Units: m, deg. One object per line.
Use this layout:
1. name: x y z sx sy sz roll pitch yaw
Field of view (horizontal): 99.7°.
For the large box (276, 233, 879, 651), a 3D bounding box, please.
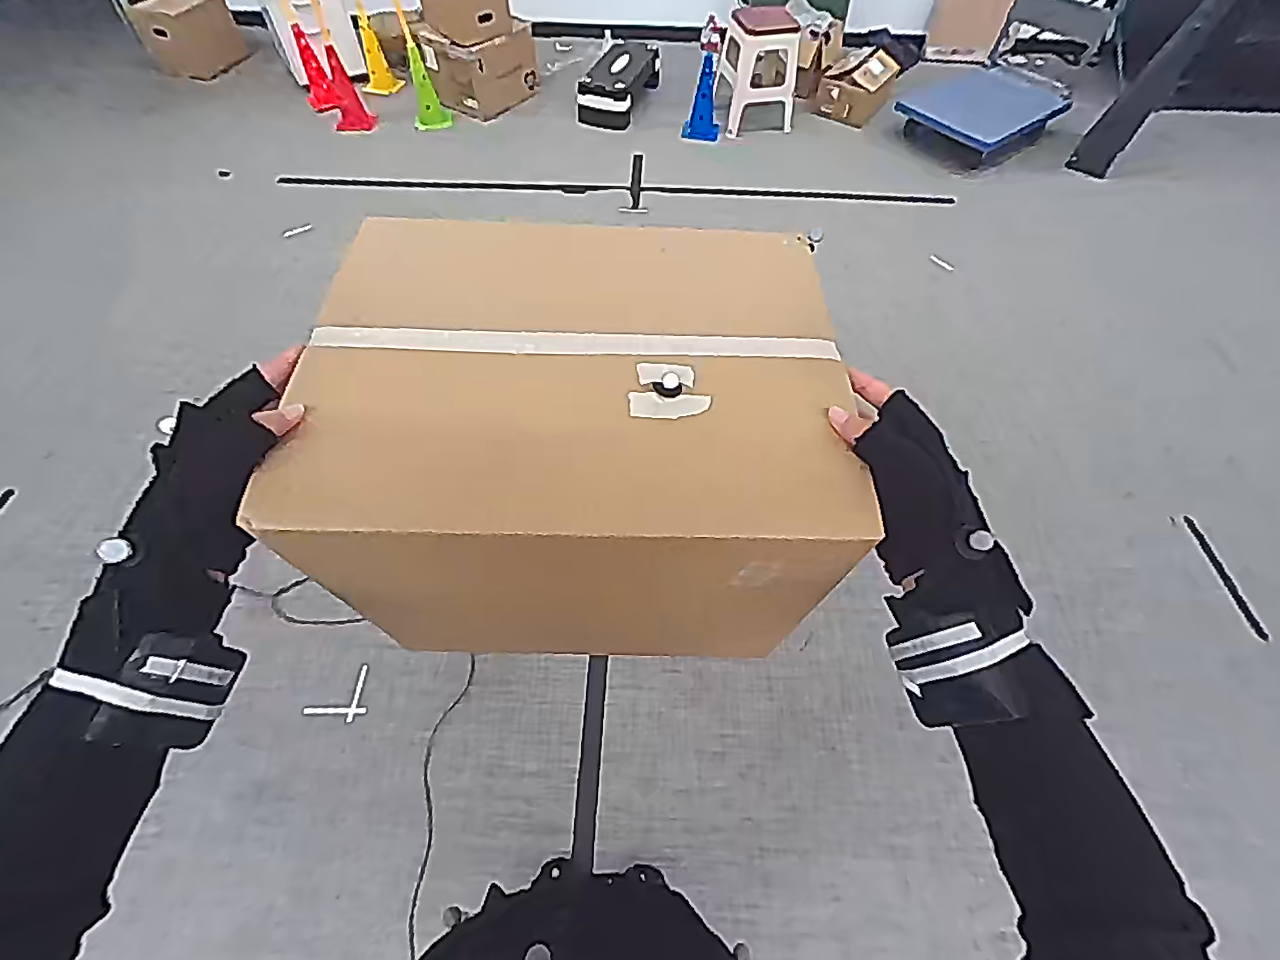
1. large box: -0.045 -0.018 0.555 0.408 0.320 0.320 2 59 -2
